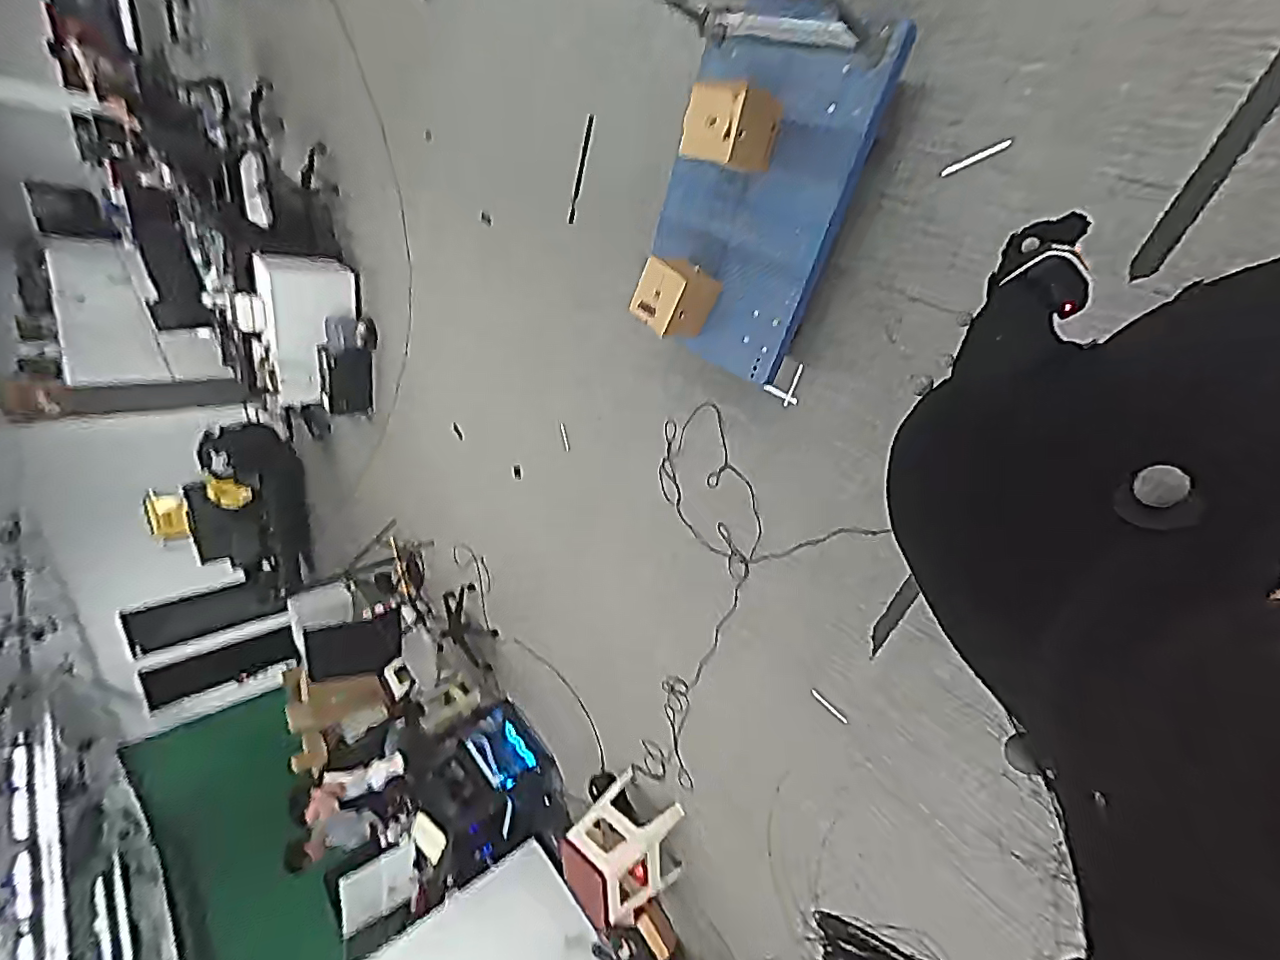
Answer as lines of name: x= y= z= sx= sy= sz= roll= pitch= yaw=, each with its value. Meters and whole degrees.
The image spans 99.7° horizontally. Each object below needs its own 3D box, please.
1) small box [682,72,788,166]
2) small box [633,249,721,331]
small box: x=0.242 y=-0.919 z=1.384 sx=0.179 sy=0.176 sz=0.168 roll=36 pitch=126 yaw=36
small box: x=0.113 y=-0.565 z=1.620 sx=0.168 sy=0.176 sz=0.179 roll=48 pitch=130 yaw=26
